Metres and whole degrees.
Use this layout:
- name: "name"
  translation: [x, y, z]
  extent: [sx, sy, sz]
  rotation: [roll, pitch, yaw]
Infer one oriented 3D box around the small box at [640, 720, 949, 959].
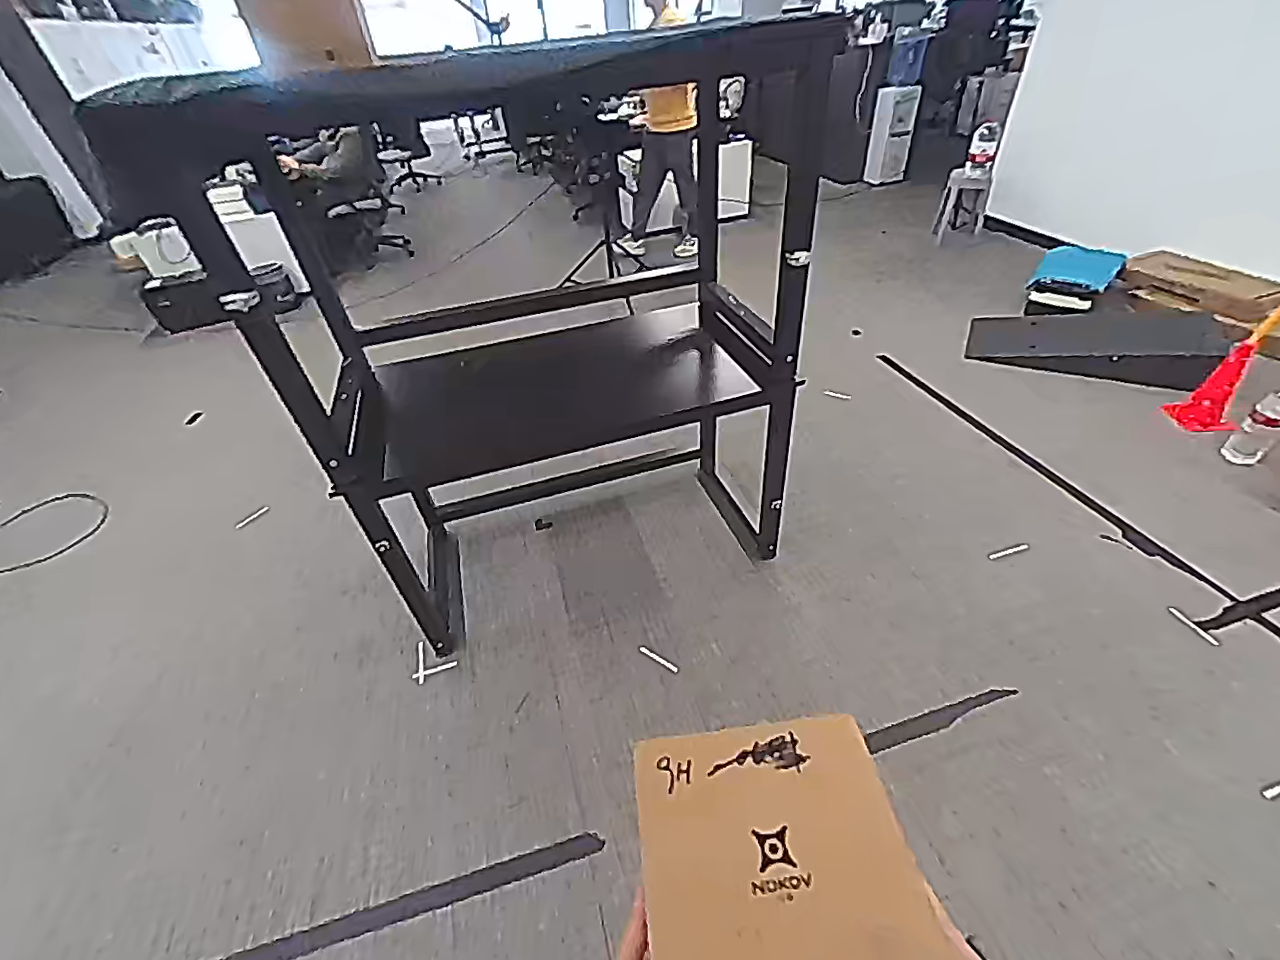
- name: "small box"
  translation: [0.092, 0.302, 0.386]
  extent: [0.168, 0.176, 0.179]
  rotation: [-6, 40, -2]
